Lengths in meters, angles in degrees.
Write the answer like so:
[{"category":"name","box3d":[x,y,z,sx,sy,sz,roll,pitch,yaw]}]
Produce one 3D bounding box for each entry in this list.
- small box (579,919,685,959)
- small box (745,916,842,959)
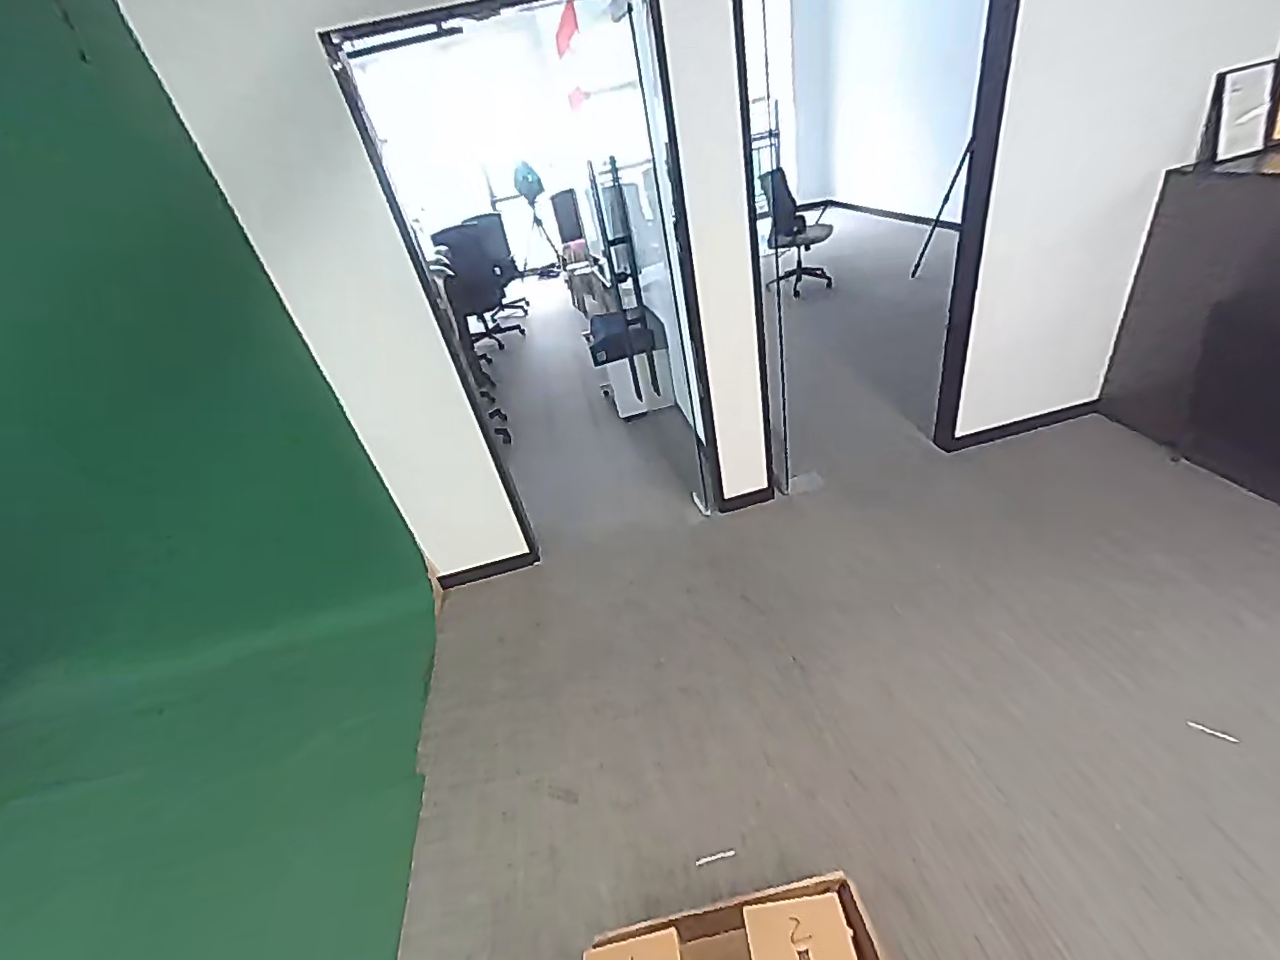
[{"category":"small box","box3d":[0.001,0.881,0.899,0.168,0.176,0.179,-13,33,-2]},{"category":"small box","box3d":[0.299,0.953,0.997,0.168,0.176,0.179,-13,35,0]}]
